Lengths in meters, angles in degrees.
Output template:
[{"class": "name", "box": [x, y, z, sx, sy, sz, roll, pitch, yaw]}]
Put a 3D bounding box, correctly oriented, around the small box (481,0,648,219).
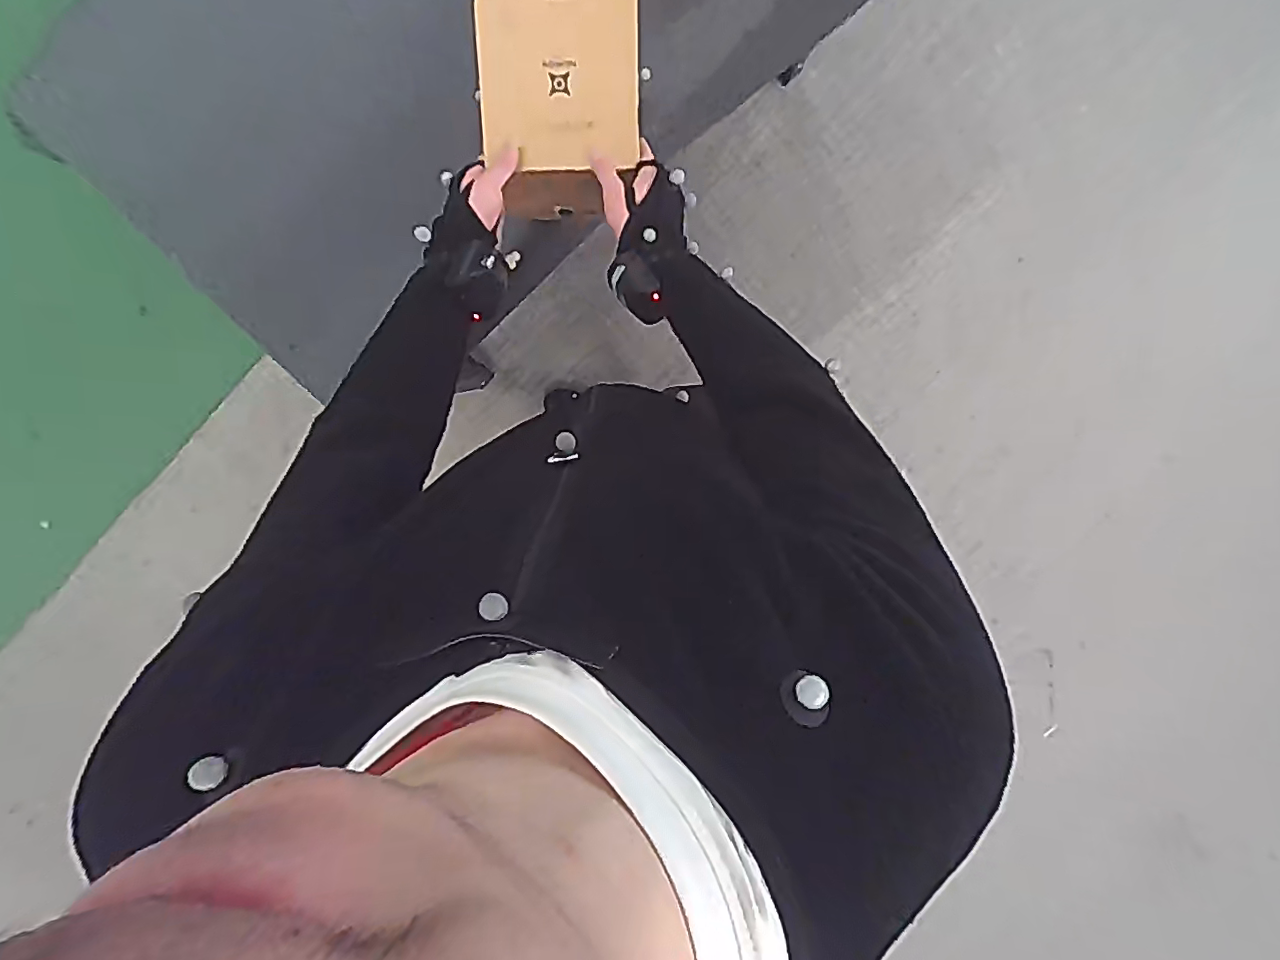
[{"class": "small box", "box": [-0.077, -0.420, 0.618, 0.168, 0.176, 0.179, 1, 100, 1]}]
